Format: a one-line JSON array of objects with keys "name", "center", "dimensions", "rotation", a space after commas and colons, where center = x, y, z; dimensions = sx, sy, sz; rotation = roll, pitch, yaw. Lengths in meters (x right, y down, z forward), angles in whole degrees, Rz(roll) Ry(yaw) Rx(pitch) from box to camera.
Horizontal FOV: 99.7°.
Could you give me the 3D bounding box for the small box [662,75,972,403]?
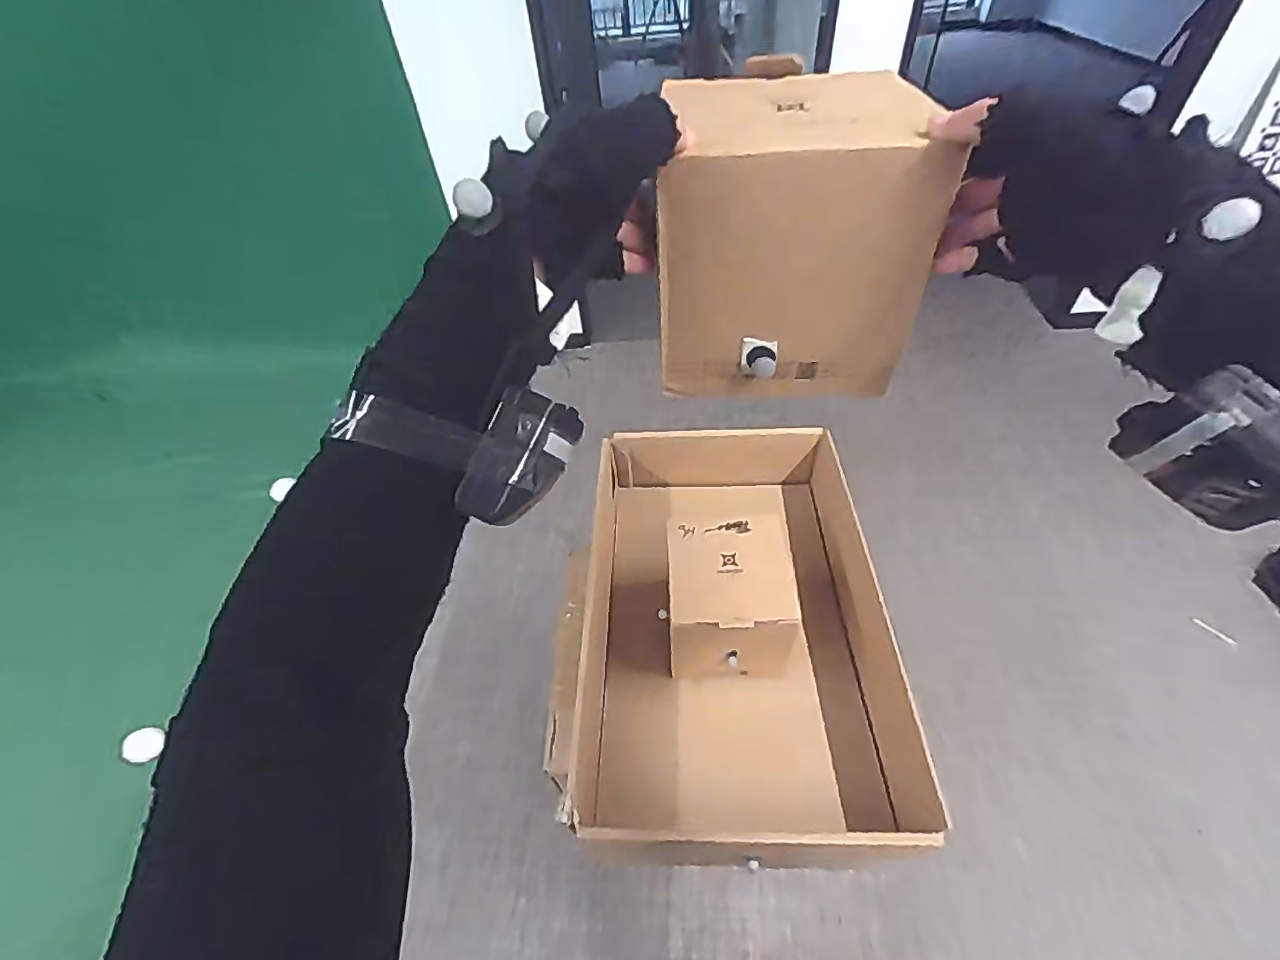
[{"name": "small box", "center": [0.101, -0.177, 0.402], "dimensions": [0.168, 0.176, 0.179], "rotation": [0, 48, 5]}]
